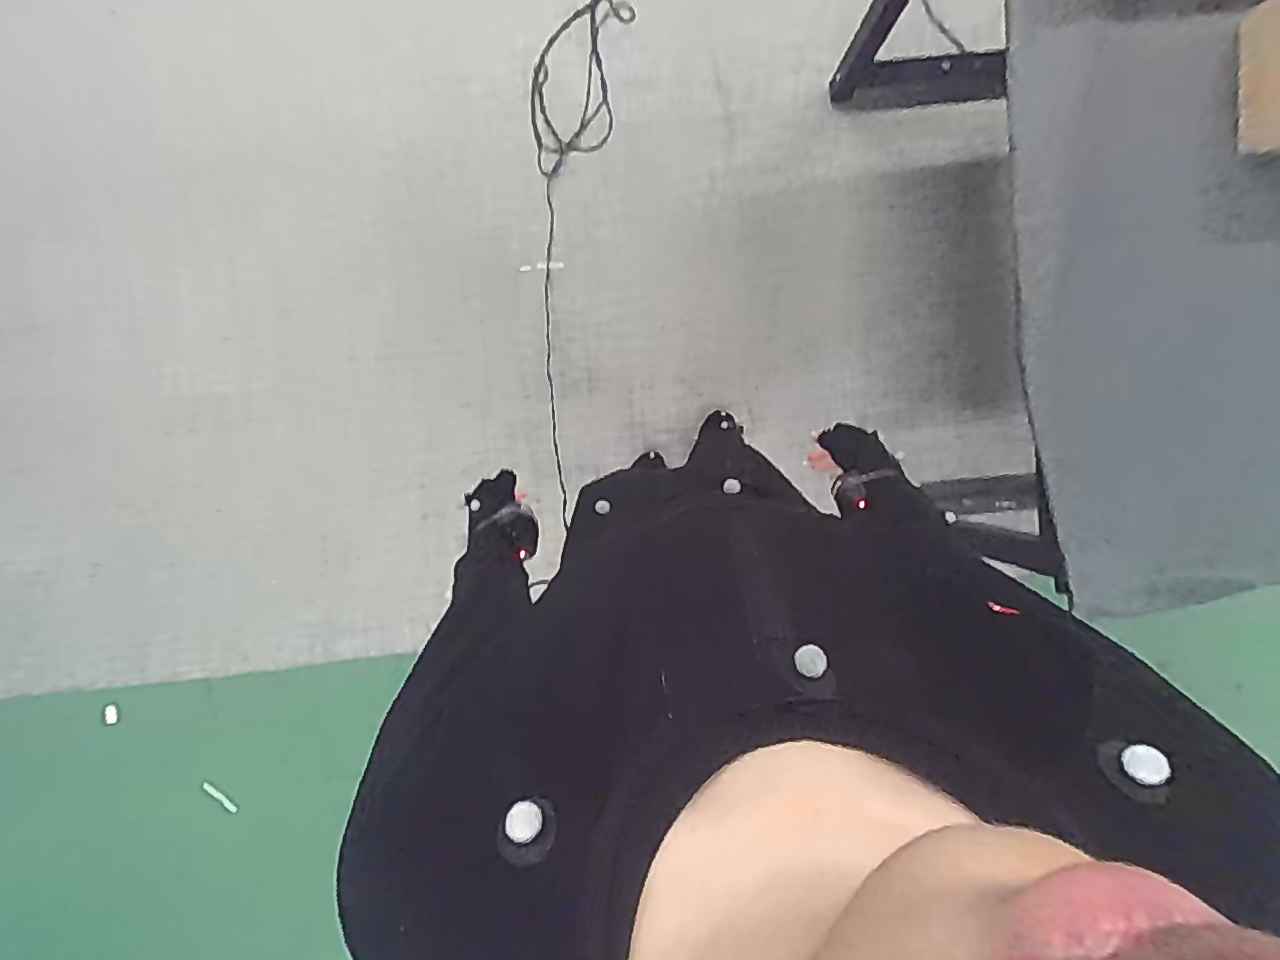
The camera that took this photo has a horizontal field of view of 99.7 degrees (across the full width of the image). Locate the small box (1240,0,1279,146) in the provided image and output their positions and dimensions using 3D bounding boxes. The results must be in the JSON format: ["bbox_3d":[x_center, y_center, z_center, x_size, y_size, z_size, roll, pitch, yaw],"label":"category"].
[{"bbox_3d":[0.886,-0.526,0.646,0.168,0.176,0.179,-3,93,-1],"label":"small box"}]
